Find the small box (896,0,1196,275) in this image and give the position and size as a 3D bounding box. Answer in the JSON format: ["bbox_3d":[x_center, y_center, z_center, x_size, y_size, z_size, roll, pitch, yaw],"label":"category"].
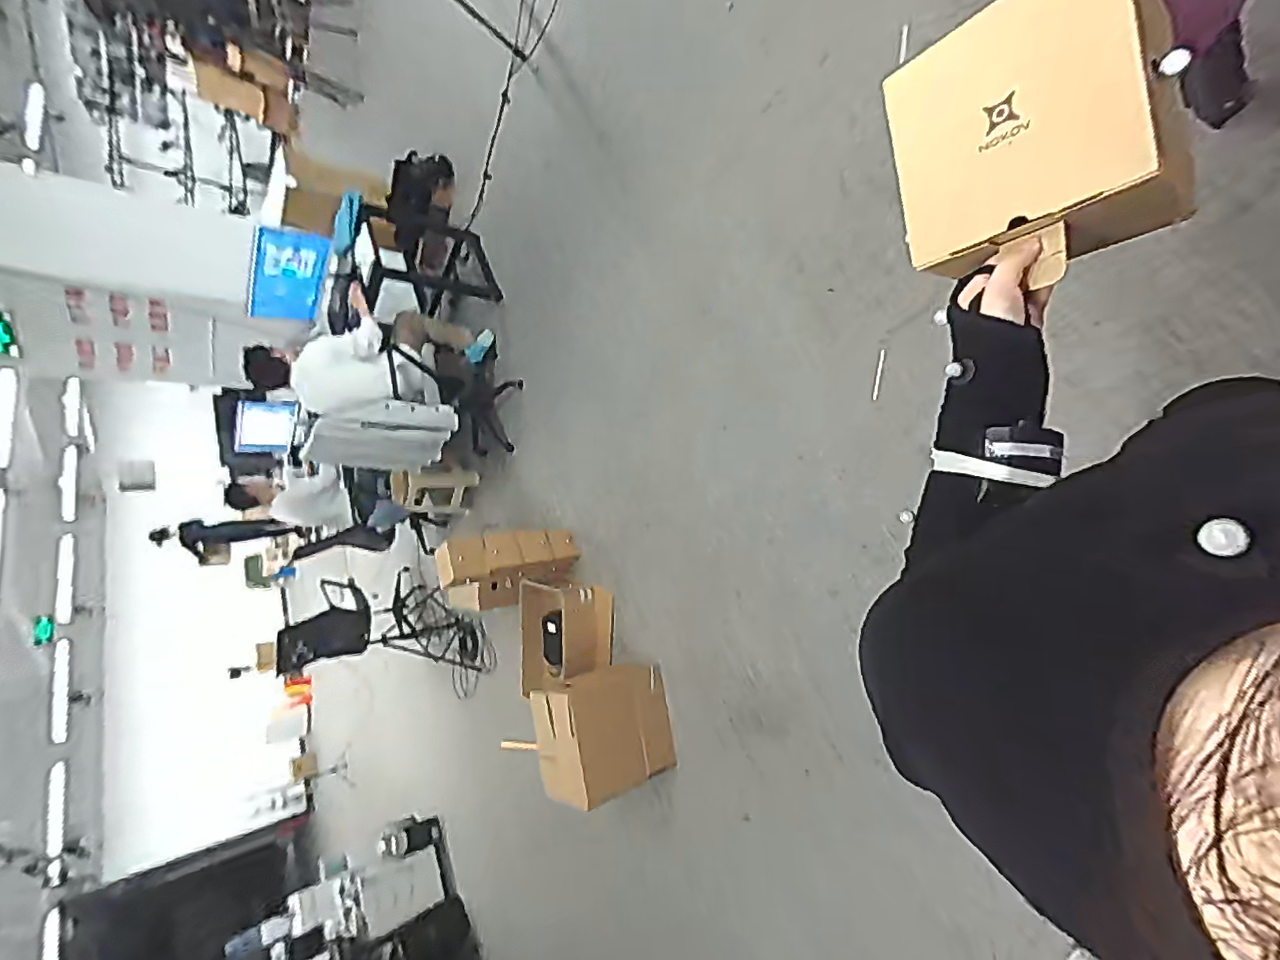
[{"bbox_3d":[0.356,-0.301,0.477,0.168,0.176,0.179,-8,92,52],"label":"small box"}]
